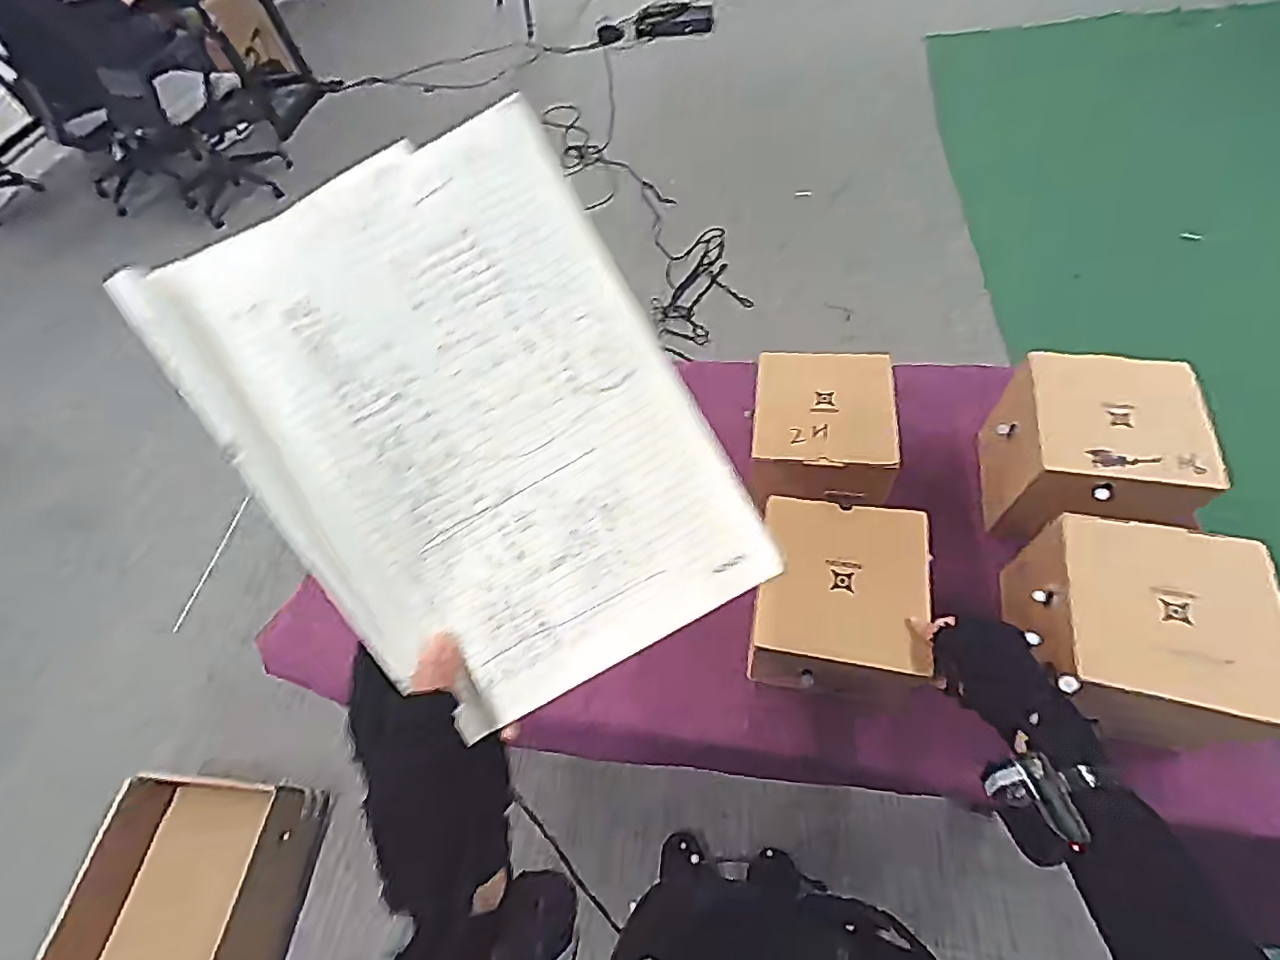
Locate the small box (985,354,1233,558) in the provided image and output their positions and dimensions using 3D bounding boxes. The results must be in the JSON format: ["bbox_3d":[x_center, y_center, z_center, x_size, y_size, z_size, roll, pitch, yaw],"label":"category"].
[{"bbox_3d":[0.548,-0.027,0.667,0.168,0.176,0.179,9,60,15],"label":"small box"}]

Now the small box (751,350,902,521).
[{"bbox_3d":[0.242,-0.051,0.731,0.168,0.176,0.179,5,61,12],"label":"small box"}]

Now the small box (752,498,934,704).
[{"bbox_3d":[0.221,0.143,0.620,0.168,0.176,0.179,7,60,13],"label":"small box"}]
